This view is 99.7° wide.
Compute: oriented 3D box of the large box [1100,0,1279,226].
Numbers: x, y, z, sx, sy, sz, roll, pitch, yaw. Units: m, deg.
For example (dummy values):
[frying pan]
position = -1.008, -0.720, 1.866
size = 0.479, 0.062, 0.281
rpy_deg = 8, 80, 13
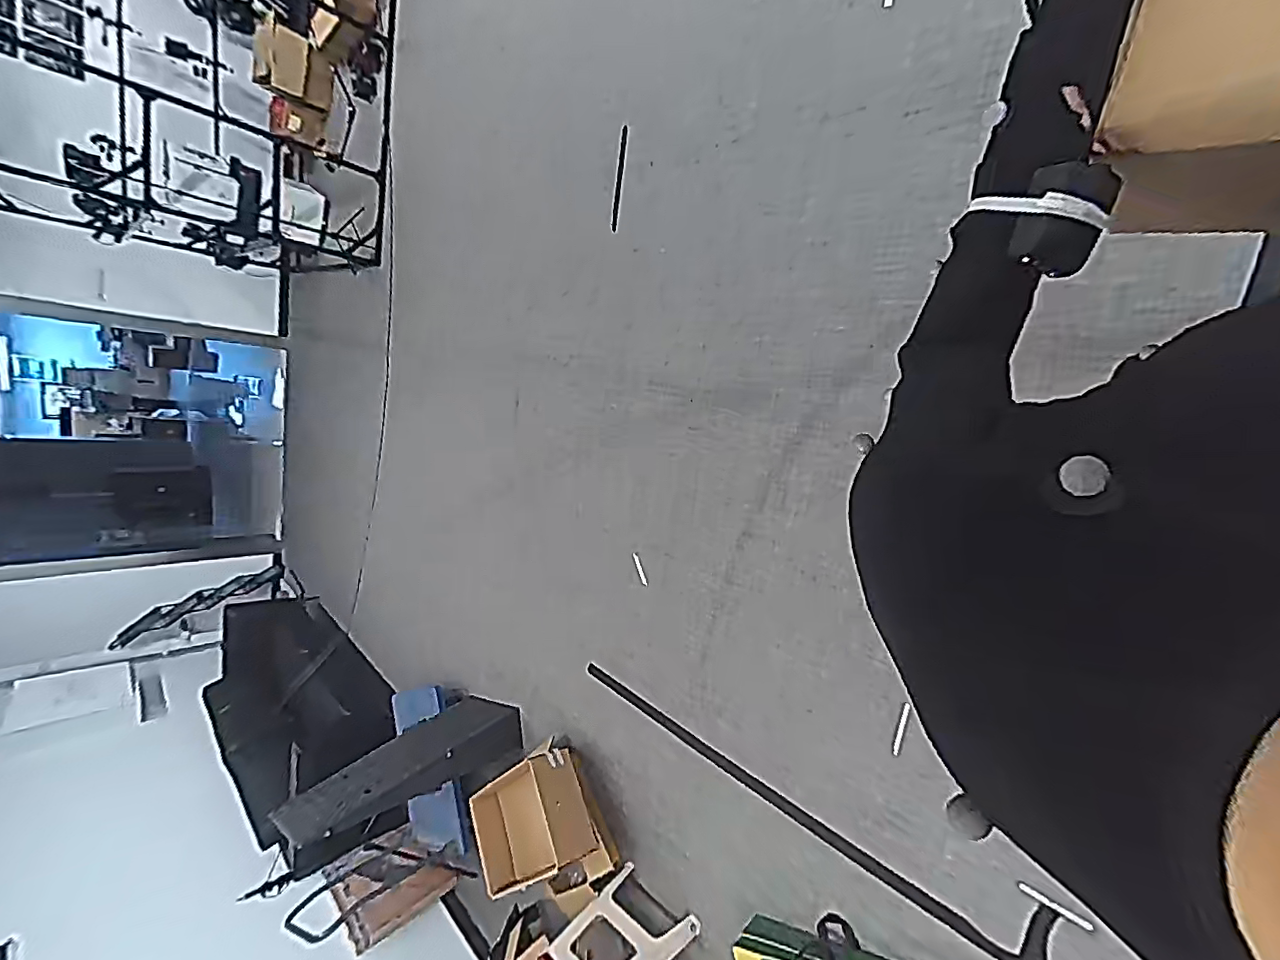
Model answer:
[large box]
position = 0.587, -0.359, 0.335
size = 0.408, 0.320, 0.320
rpy_deg = 19, 113, 38
